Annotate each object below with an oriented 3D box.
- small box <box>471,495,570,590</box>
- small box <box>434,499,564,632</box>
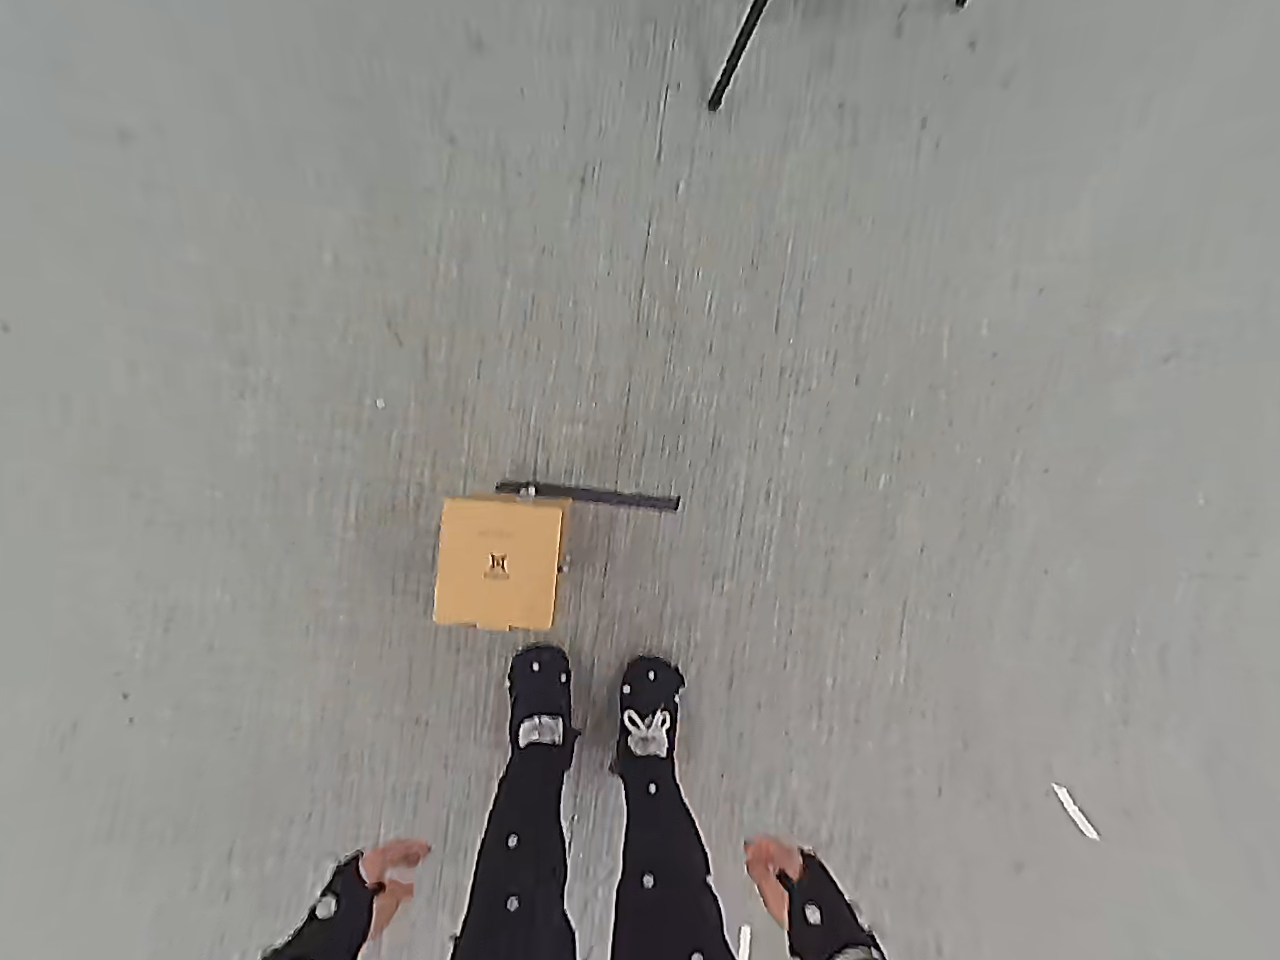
[{"bbox_3d":[-0.221,0.123,0.999,0.168,0.176,0.179,5,89,-5],"label":"small box"},{"bbox_3d":[-0.208,0.123,0.837,0.168,0.176,0.179,4,89,-6],"label":"small box"}]
